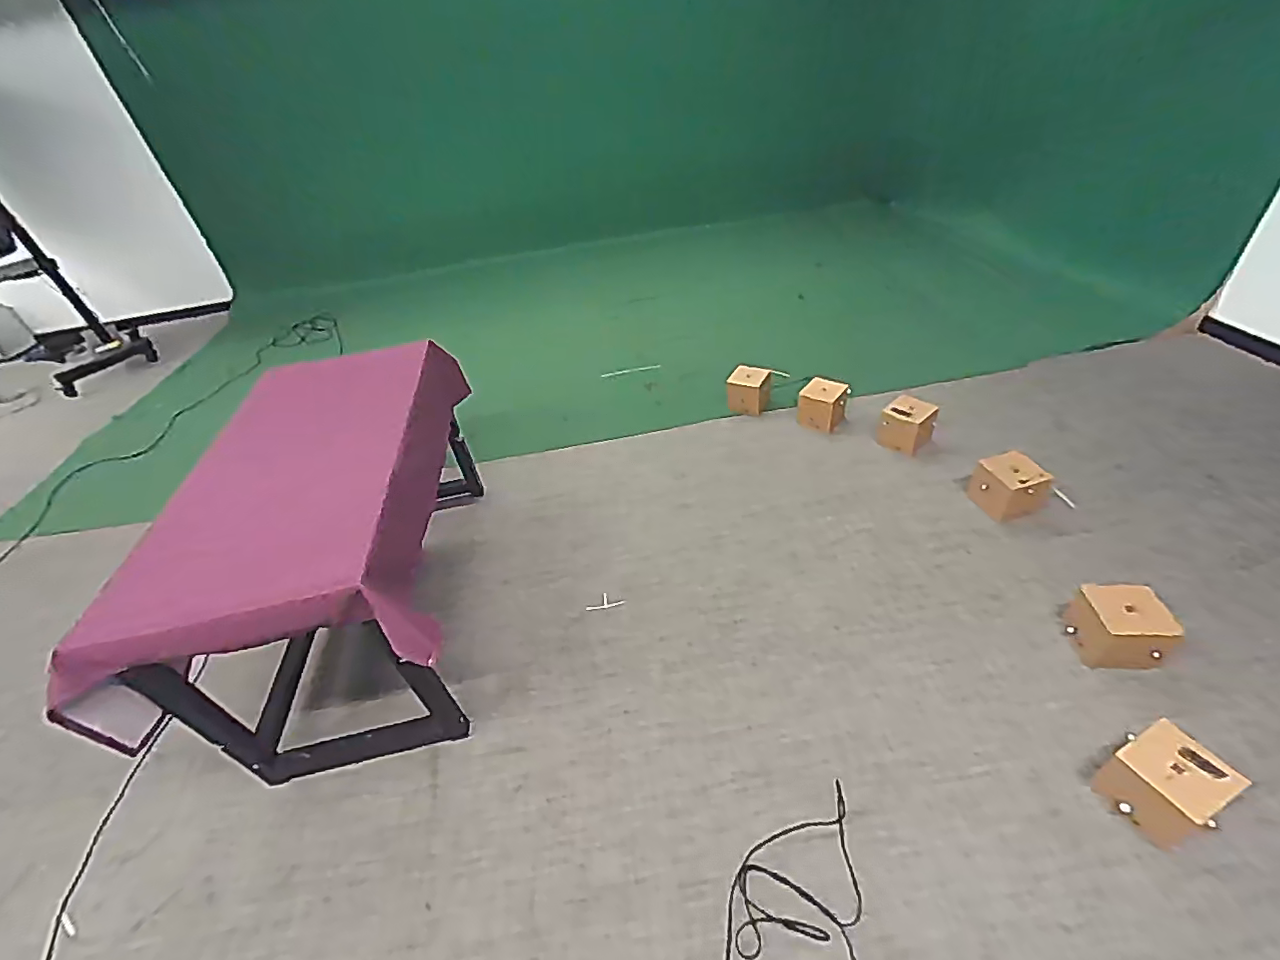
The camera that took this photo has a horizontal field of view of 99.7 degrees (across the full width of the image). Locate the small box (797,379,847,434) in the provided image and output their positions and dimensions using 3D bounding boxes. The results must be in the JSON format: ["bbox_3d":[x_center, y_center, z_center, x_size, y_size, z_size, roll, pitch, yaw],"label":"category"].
[{"bbox_3d":[0.848,-0.346,2.533,0.168,0.176,0.179,23,50,33],"label":"small box"}]

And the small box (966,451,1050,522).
[{"bbox_3d":[1.341,0.024,1.984,0.168,0.176,0.179,-15,39,-6],"label":"small box"}]

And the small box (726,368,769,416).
[{"bbox_3d":[0.539,-0.438,2.701,0.168,0.176,0.179,16,45,26],"label":"small box"}]

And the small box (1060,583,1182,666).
[{"bbox_3d":[1.341,0.408,1.524,0.179,0.176,0.168,-2,39,9],"label":"small box"}]
